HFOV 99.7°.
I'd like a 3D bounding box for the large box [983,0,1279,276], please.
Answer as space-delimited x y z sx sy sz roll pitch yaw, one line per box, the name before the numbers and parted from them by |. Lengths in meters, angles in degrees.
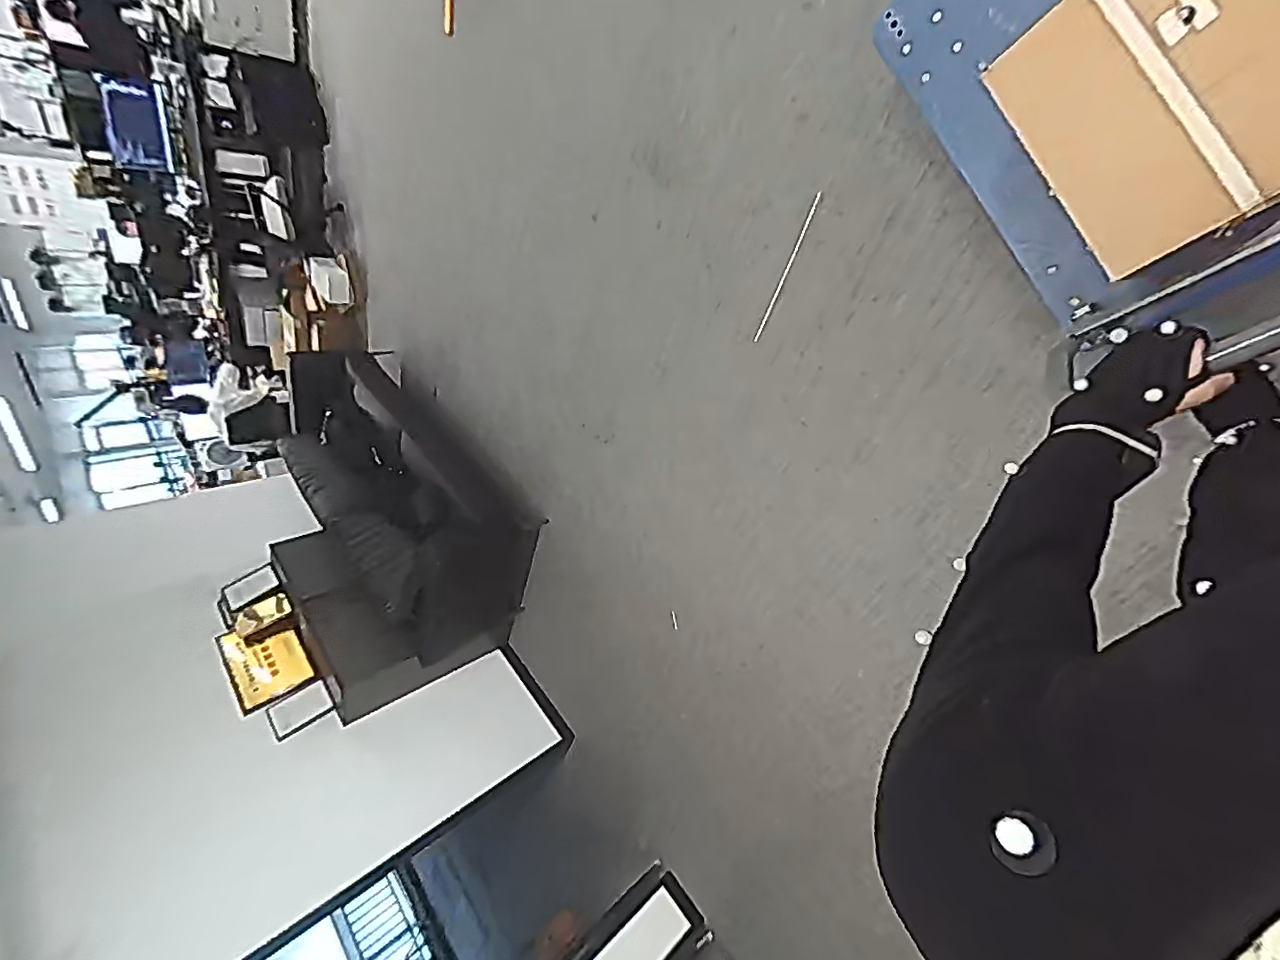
large box | 0.850 -0.592 0.865 0.320 0.320 0.408 -34 81 47
